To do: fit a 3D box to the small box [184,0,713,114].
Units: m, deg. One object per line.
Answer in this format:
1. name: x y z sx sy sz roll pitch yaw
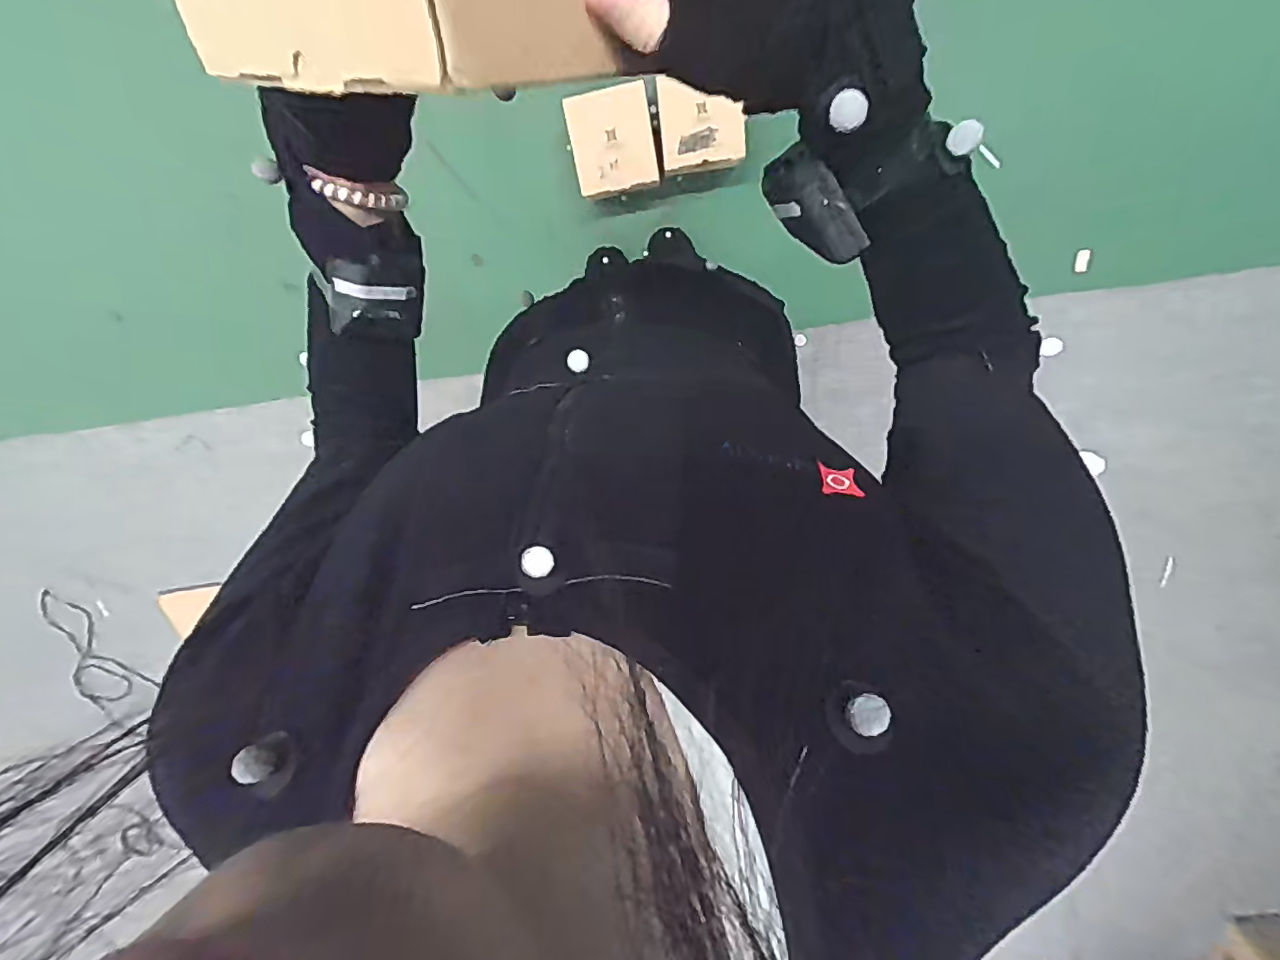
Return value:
1. small box: -0.078 -0.259 0.205 0.168 0.176 0.179 24 138 27
